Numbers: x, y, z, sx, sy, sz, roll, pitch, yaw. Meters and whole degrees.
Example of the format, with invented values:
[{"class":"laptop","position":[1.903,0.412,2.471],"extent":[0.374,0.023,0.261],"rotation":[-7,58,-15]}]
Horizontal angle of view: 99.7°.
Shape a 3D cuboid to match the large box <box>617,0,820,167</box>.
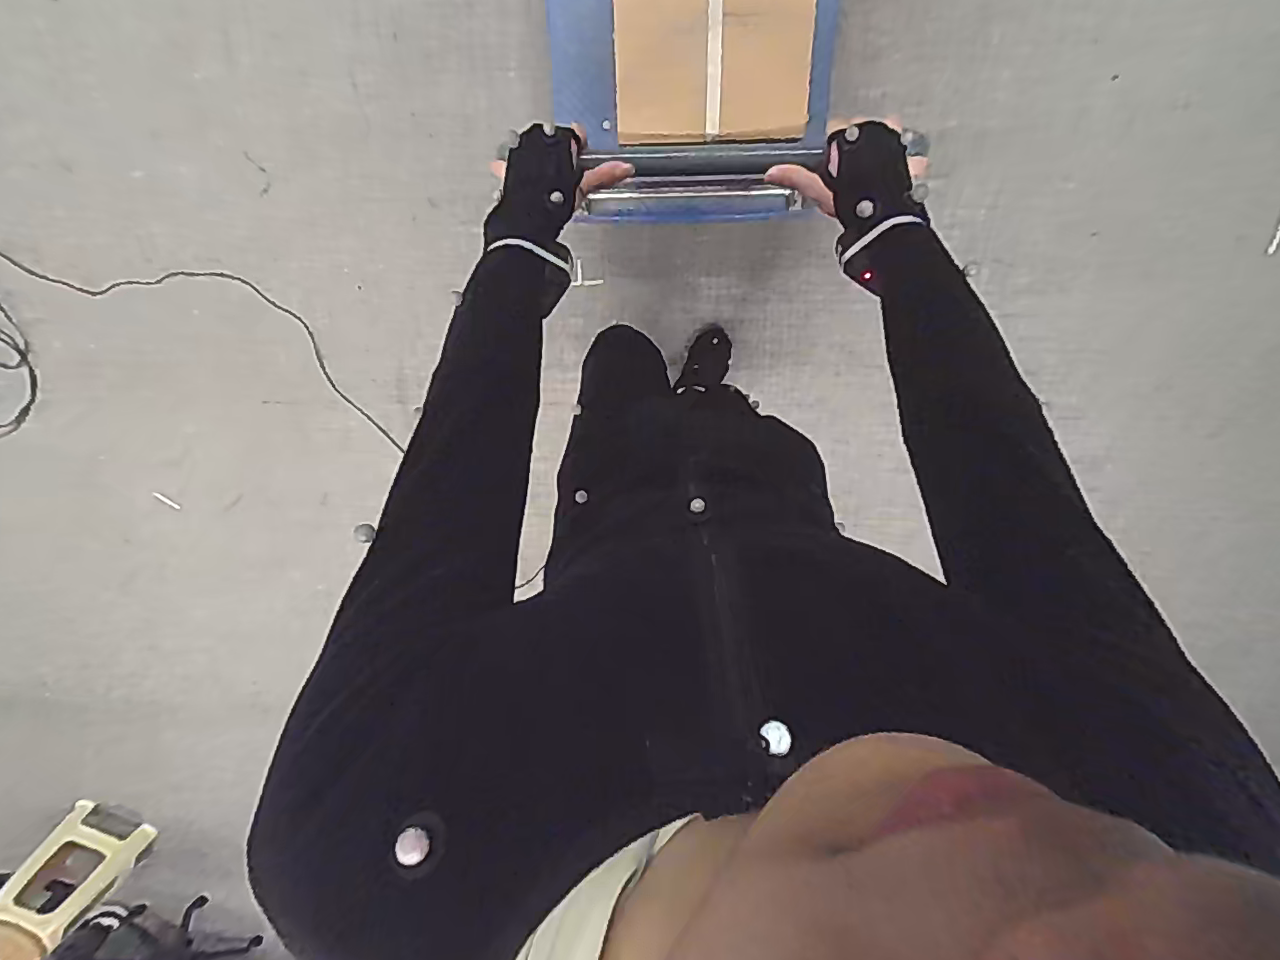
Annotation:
[{"class":"large box","position":[0.127,-0.811,0.953],"extent":[0.320,0.320,0.408],"rotation":[0,112,3]}]
